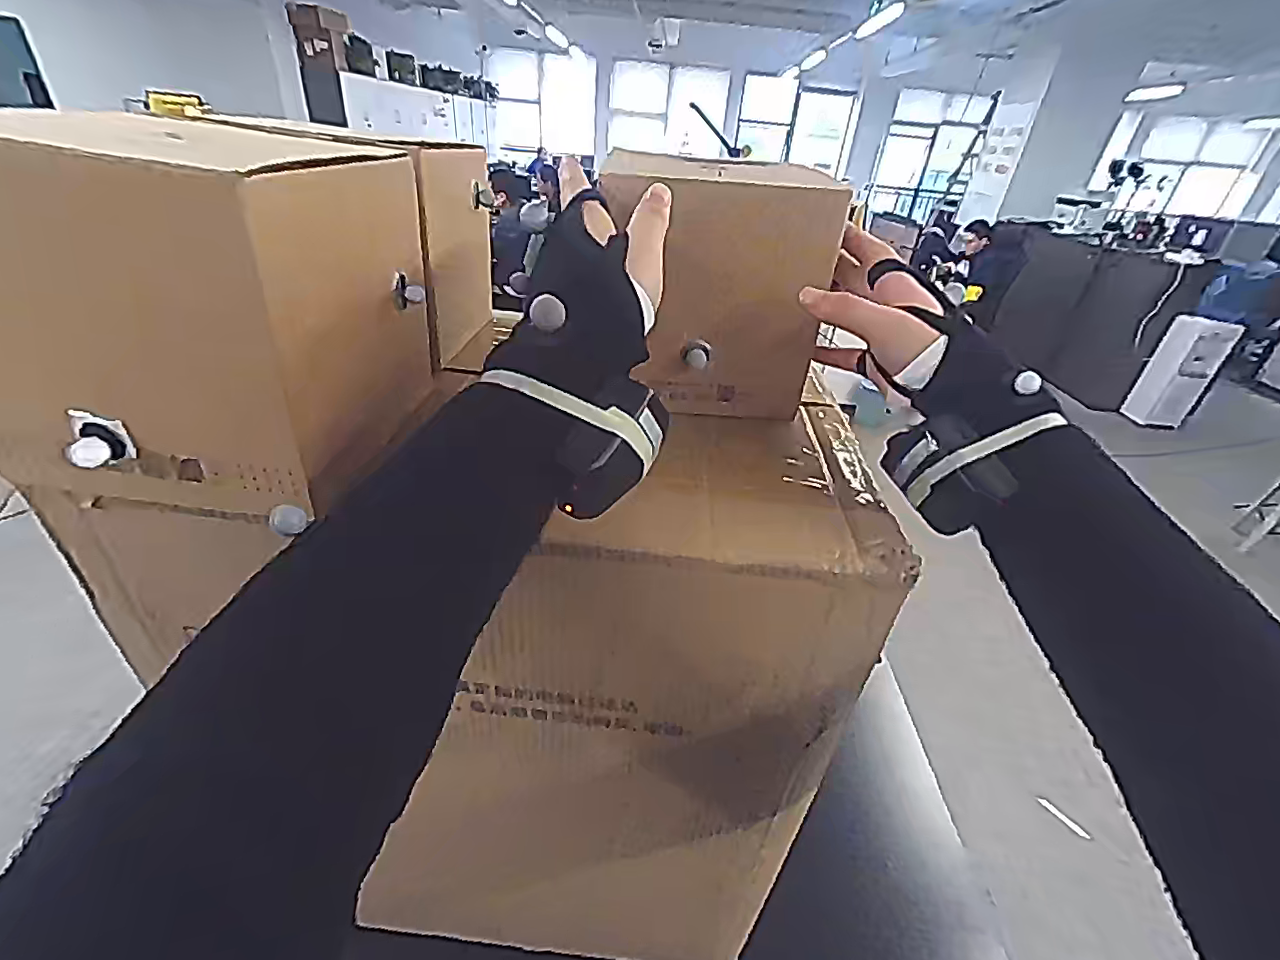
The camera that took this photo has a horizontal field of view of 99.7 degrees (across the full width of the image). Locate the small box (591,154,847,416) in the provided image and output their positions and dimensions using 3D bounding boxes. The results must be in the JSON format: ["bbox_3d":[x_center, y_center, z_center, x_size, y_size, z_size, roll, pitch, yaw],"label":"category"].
[{"bbox_3d":[0.048,-0.170,0.457,0.168,0.176,0.179,3,33,-1],"label":"small box"}]

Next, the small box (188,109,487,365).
[{"bbox_3d":[-0.242,-0.218,0.489,0.168,0.176,0.179,5,31,-1],"label":"small box"}]
